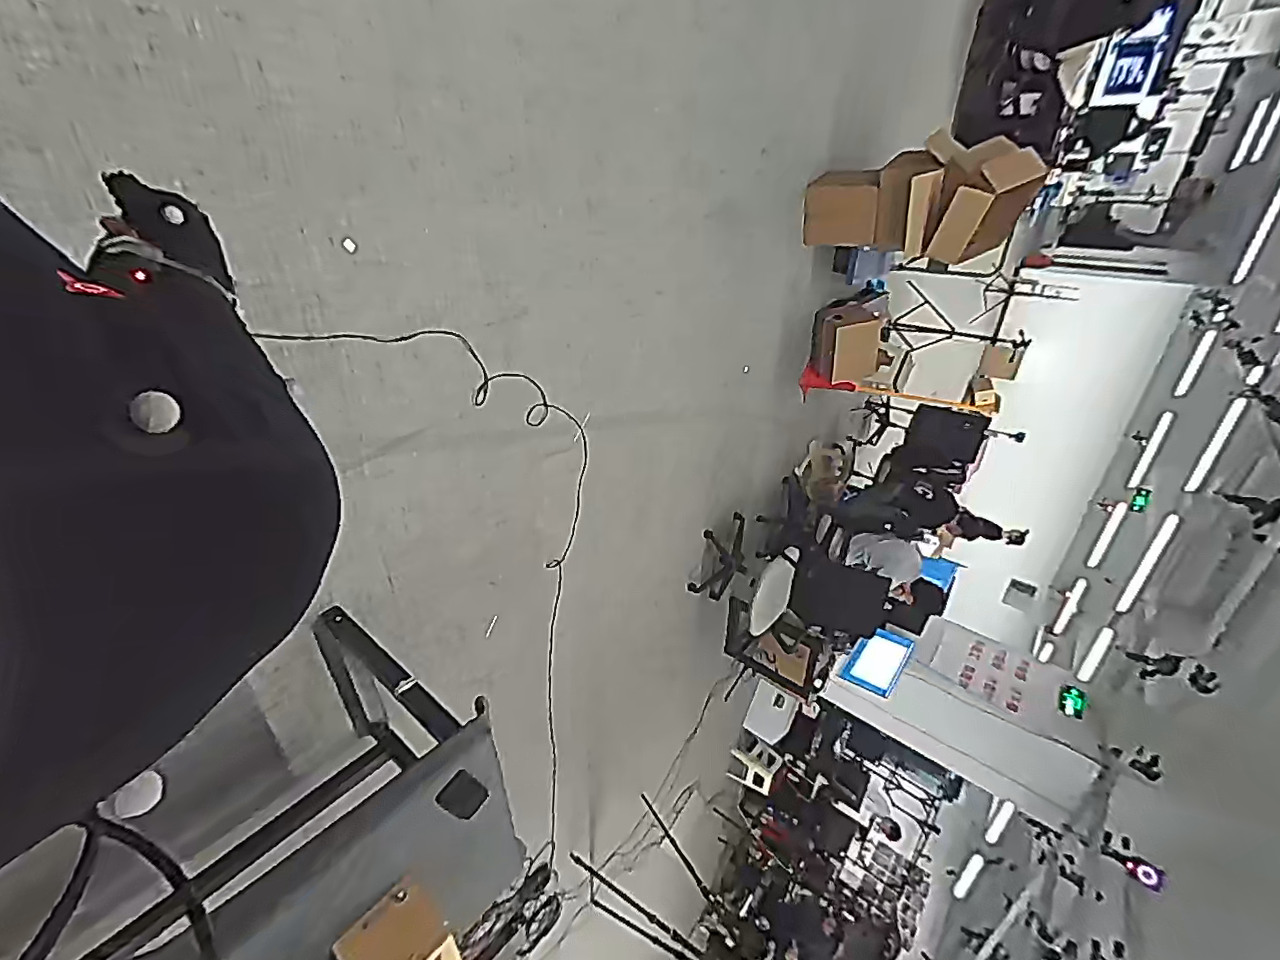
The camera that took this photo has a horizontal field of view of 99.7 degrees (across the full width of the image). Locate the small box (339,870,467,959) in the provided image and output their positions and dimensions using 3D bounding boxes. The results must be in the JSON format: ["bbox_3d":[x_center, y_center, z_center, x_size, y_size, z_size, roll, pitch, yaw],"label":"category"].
[{"bbox_3d":[-0.488,0.959,1.116,0.168,0.176,0.179,-32,134,-42],"label":"small box"}]
